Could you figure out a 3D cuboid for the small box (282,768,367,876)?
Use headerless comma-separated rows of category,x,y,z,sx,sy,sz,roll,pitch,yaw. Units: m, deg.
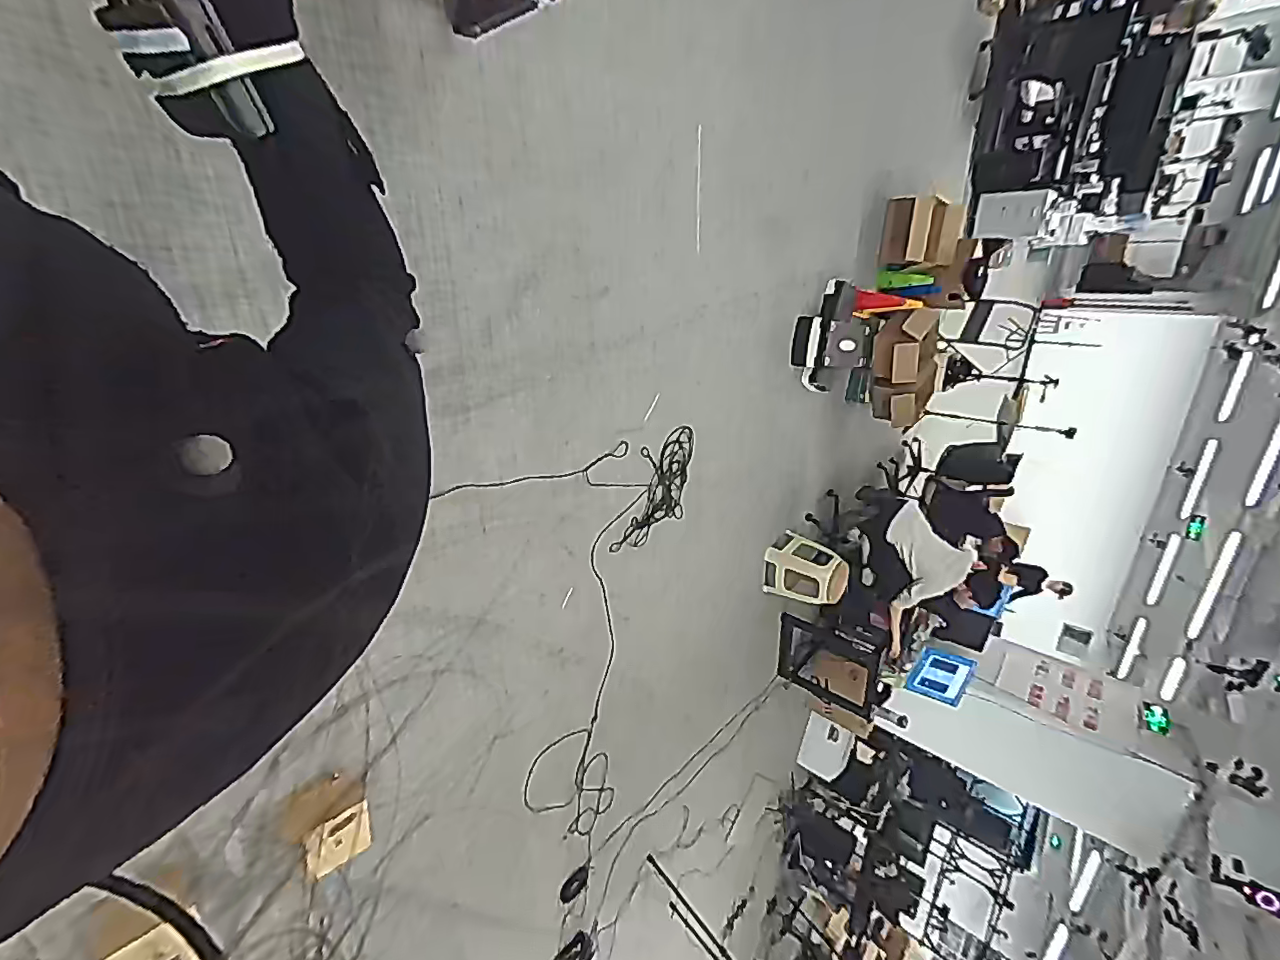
small box,-0.911,0.971,1.560,0.168,0.176,0.179,-14,115,-47
